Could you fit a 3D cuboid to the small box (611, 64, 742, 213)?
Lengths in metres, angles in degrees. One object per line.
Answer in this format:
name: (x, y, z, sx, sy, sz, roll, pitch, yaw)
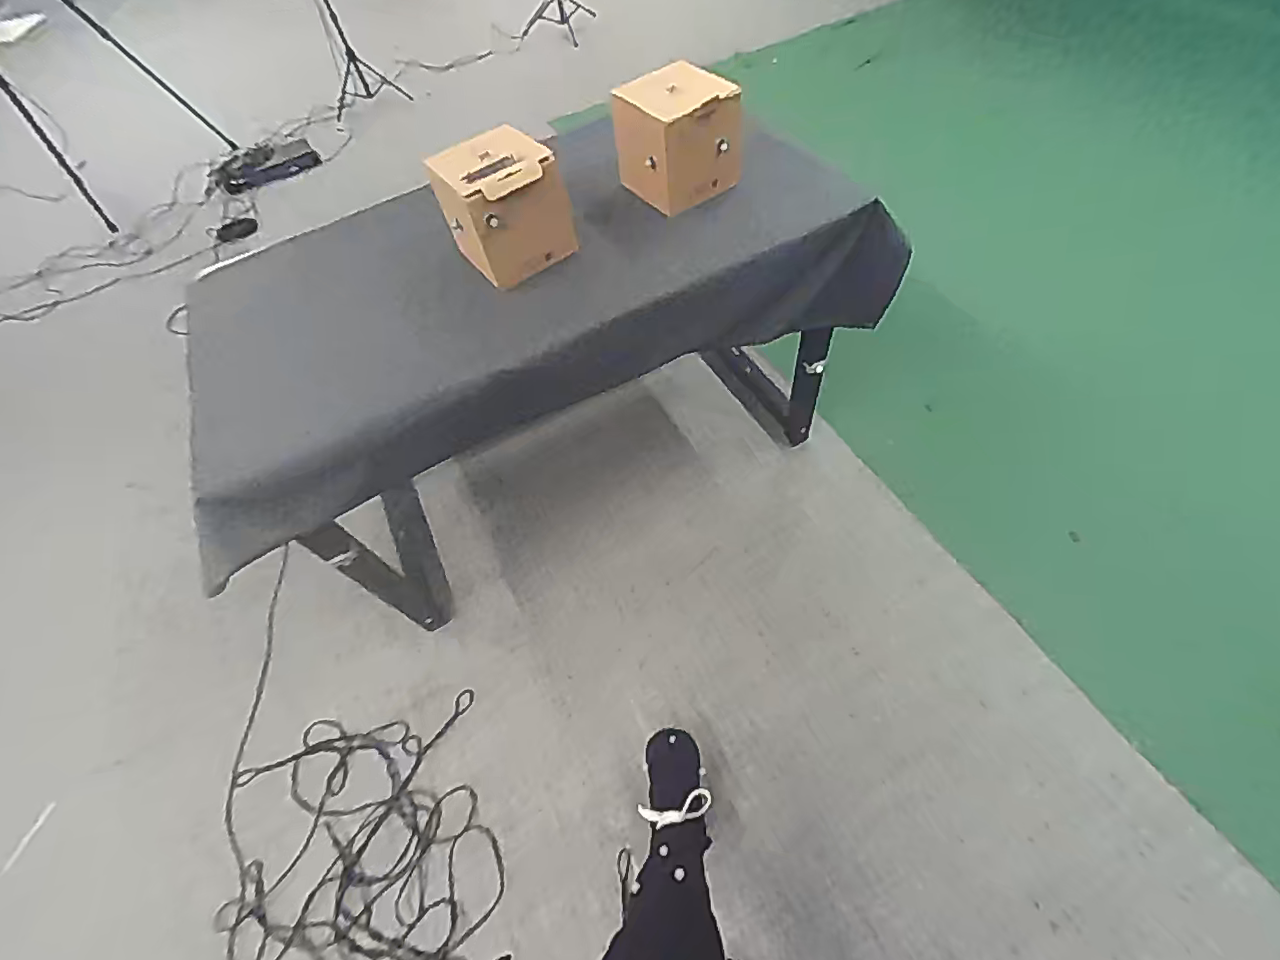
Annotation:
small box: (0.070, -0.626, 1.002, 0.168, 0.176, 0.179, -32, 58, -15)
